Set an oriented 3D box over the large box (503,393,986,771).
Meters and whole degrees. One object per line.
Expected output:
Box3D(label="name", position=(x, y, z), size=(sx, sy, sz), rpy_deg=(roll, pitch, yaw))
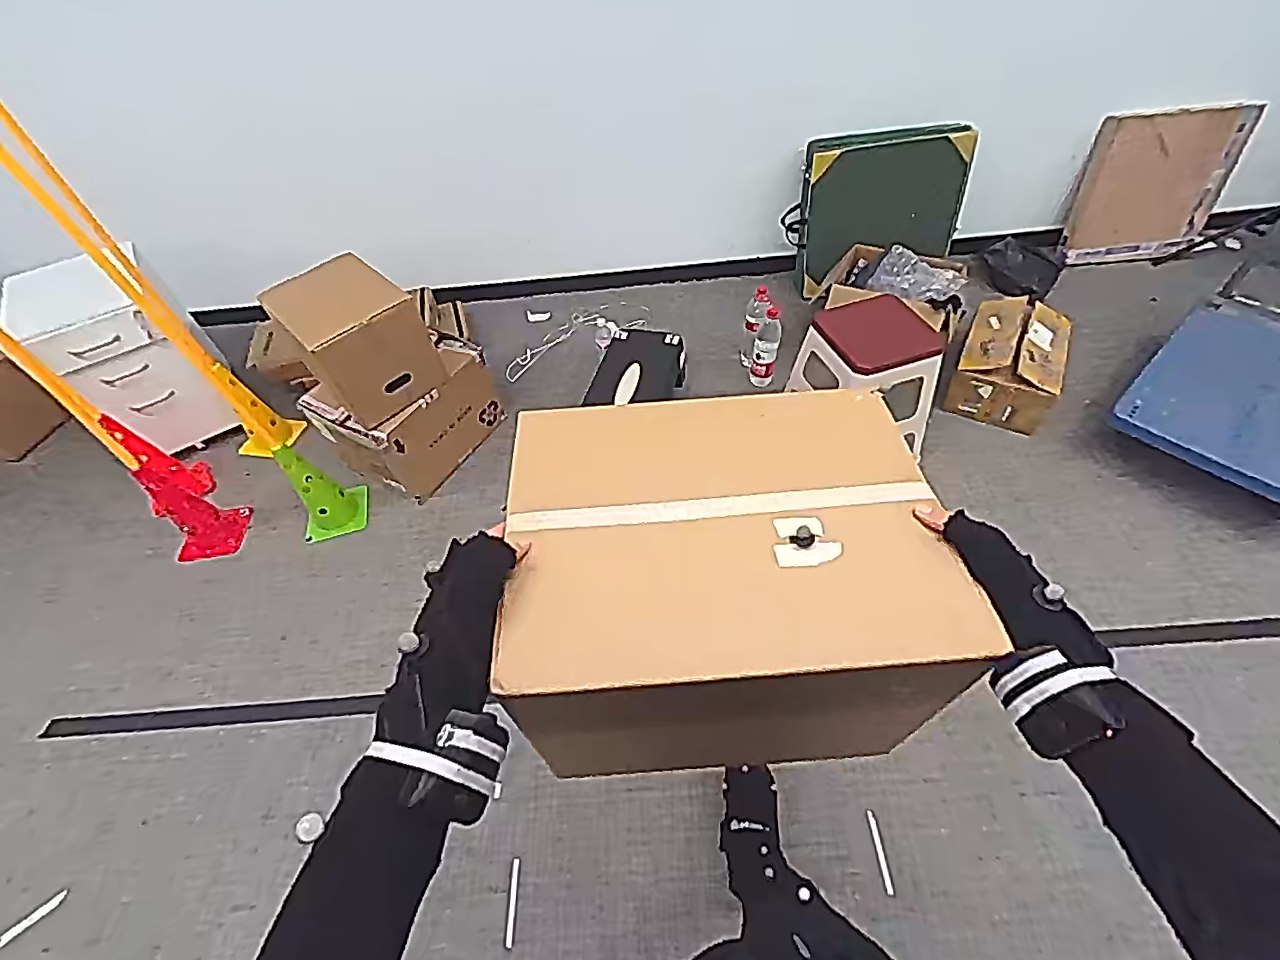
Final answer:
Box3D(label="large box", position=(0.080, 0.126, 0.641), size=(0.408, 0.320, 0.320), rpy_deg=(-4, 50, -1))
